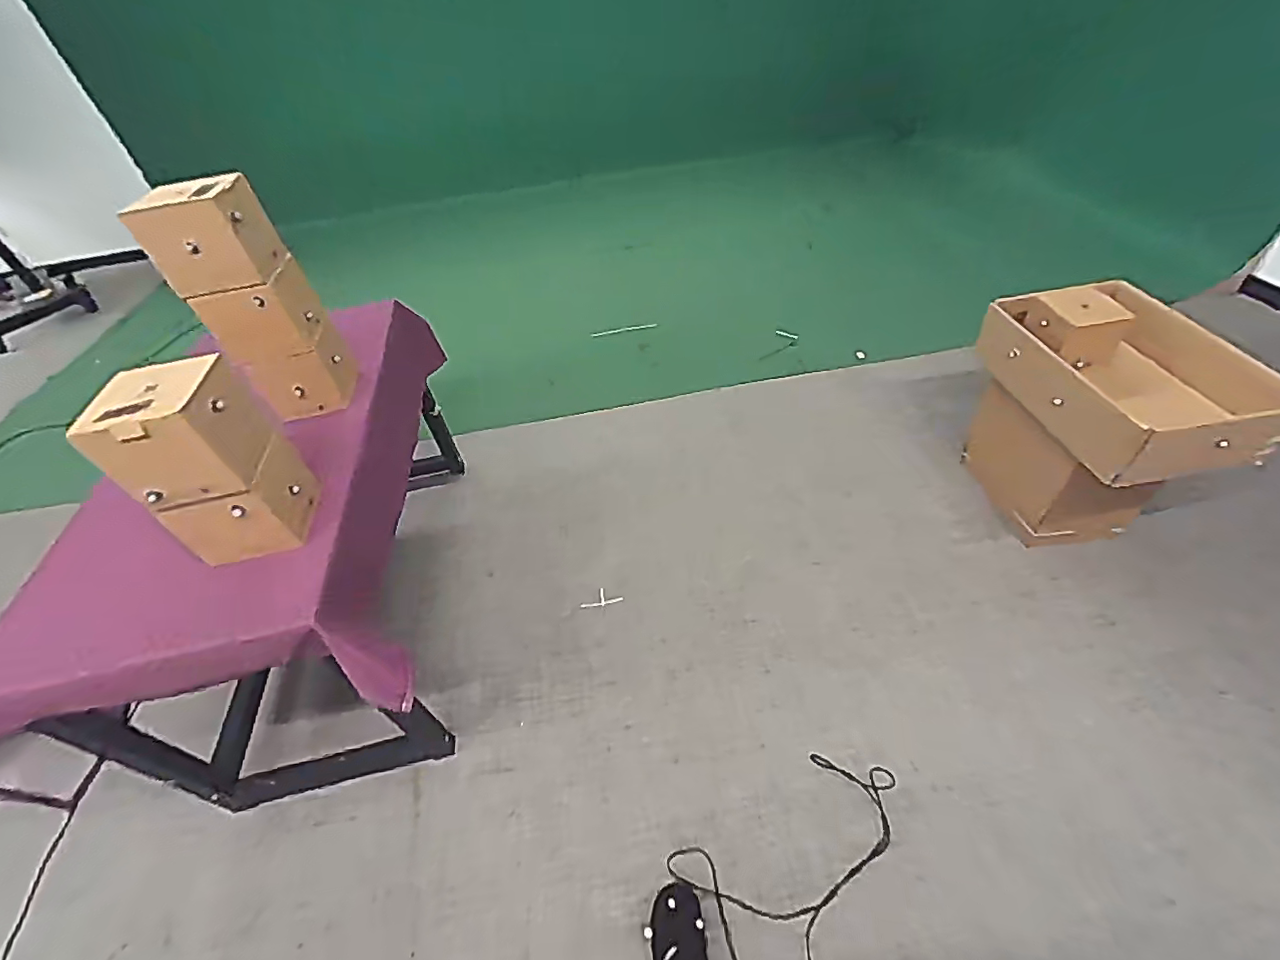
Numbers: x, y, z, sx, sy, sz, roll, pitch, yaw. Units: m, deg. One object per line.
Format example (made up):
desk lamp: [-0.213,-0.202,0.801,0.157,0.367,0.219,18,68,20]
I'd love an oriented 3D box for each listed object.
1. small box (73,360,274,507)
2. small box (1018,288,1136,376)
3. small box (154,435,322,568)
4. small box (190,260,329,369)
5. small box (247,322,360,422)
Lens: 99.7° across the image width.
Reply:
small box: [-0.762,-0.072,0.913,0.168,0.176,0.179,-13,44,-4]
small box: [1.221,-0.419,1.531,0.168,0.176,0.179,-9,44,1]
small box: [-0.744,0.043,1.030,0.179,0.176,0.168,-13,44,-3]
small box: [-0.850,-0.372,1.229,0.179,0.176,0.168,-12,45,-4]
small box: [-0.825,-0.262,1.347,0.168,0.176,0.179,-13,46,-4]
